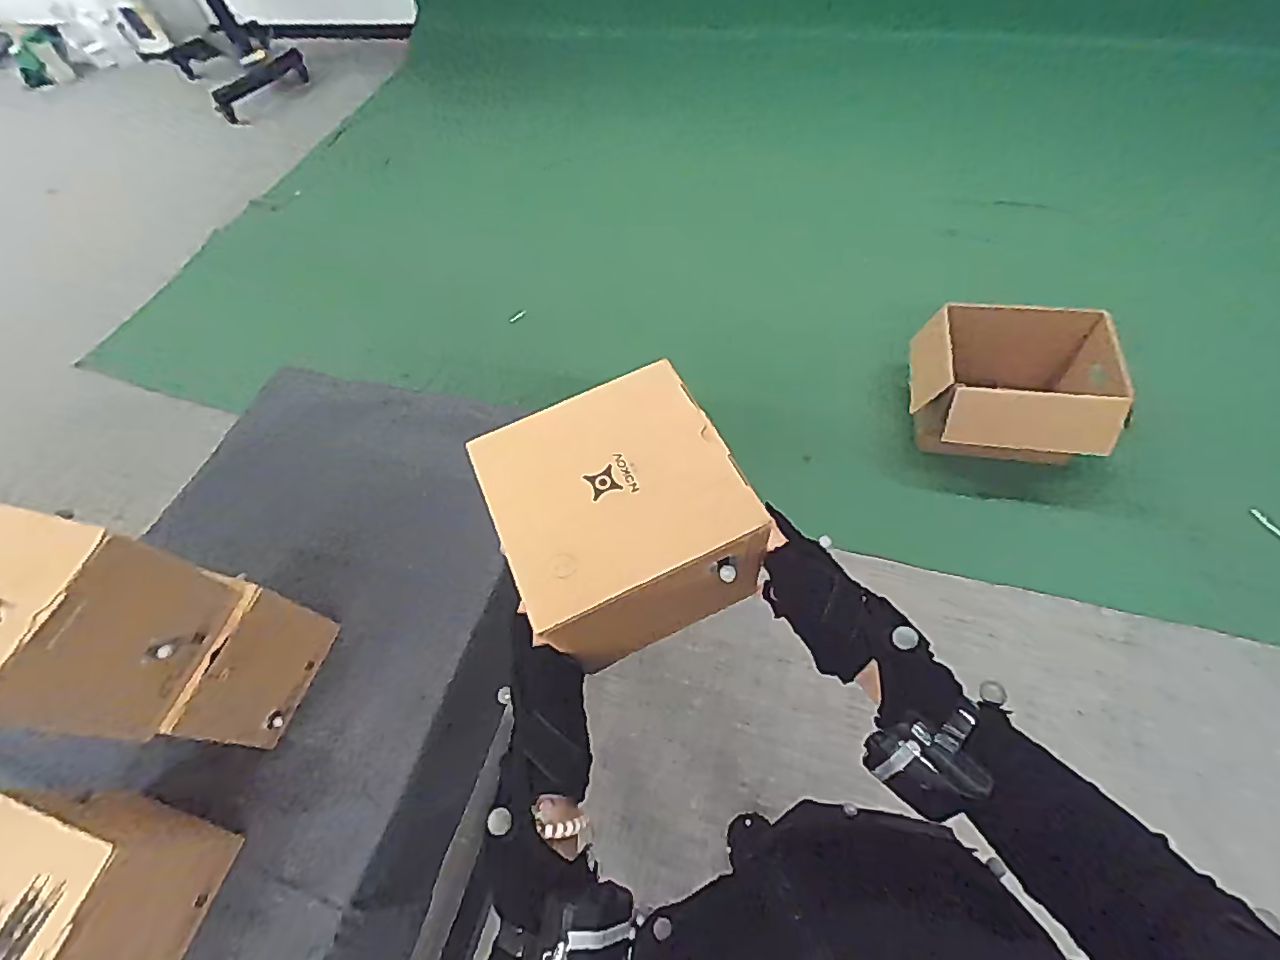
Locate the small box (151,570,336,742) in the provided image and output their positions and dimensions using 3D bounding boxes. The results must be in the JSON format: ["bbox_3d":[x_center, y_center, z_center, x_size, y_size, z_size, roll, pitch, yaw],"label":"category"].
[{"bbox_3d":[-0.535,0.220,0.684,0.179,0.176,0.168,10,61,14],"label":"small box"}]

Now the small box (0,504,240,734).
[{"bbox_3d":[-0.570,0.144,0.542,0.179,0.176,0.168,10,62,12],"label":"small box"}]

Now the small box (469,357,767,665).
[{"bbox_3d":[-0.014,0.036,0.458,0.179,0.176,0.168,-25,62,-7],"label":"small box"}]
